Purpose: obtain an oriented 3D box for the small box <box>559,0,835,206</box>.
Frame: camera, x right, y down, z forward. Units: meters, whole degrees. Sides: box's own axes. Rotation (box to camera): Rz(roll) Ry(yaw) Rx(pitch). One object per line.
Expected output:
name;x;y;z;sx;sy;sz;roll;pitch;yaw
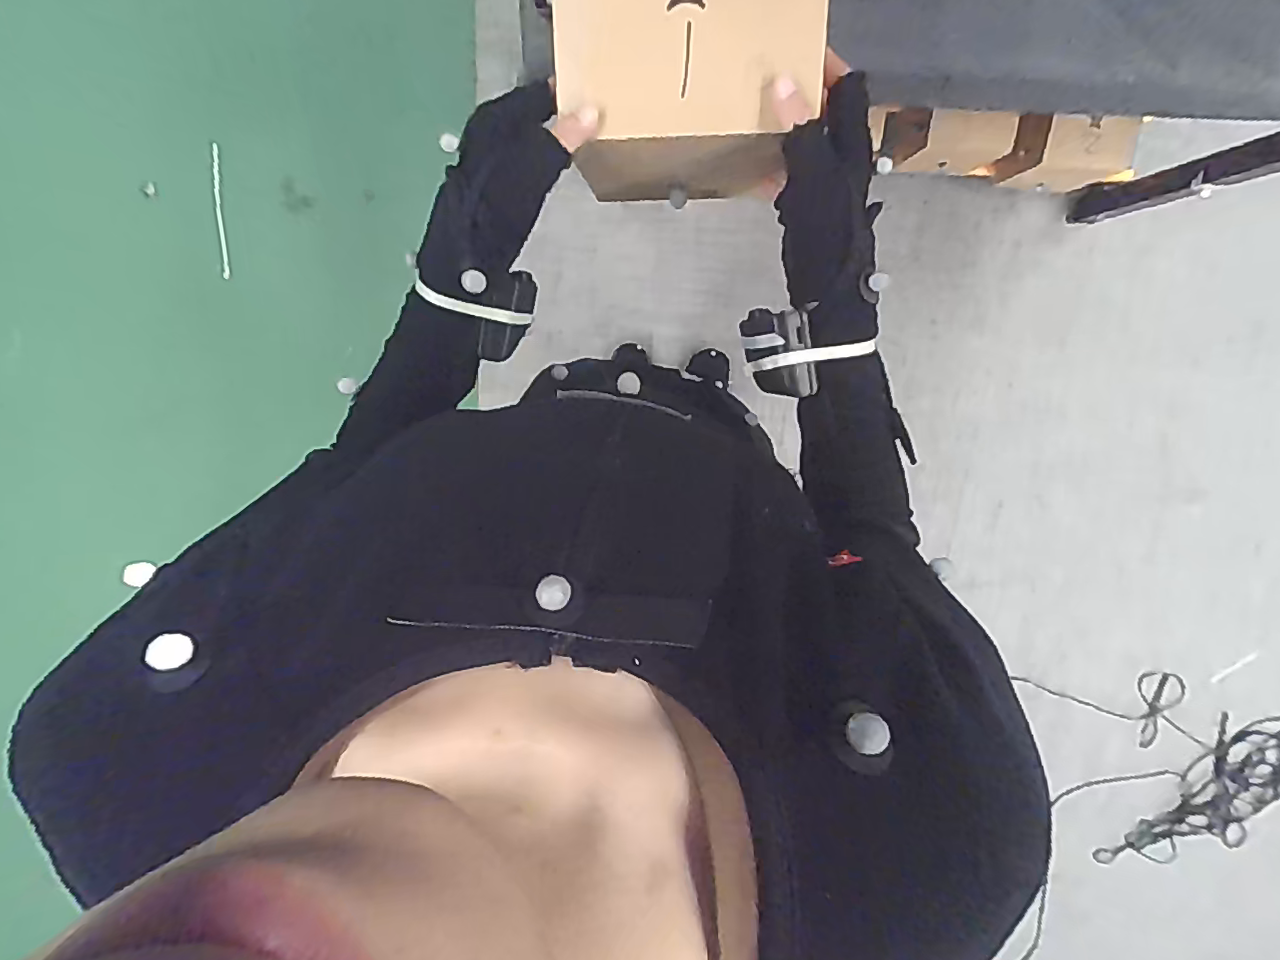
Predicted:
small box;0.038;-0.317;0.393;0.168;0.176;0.179;0;104;5
